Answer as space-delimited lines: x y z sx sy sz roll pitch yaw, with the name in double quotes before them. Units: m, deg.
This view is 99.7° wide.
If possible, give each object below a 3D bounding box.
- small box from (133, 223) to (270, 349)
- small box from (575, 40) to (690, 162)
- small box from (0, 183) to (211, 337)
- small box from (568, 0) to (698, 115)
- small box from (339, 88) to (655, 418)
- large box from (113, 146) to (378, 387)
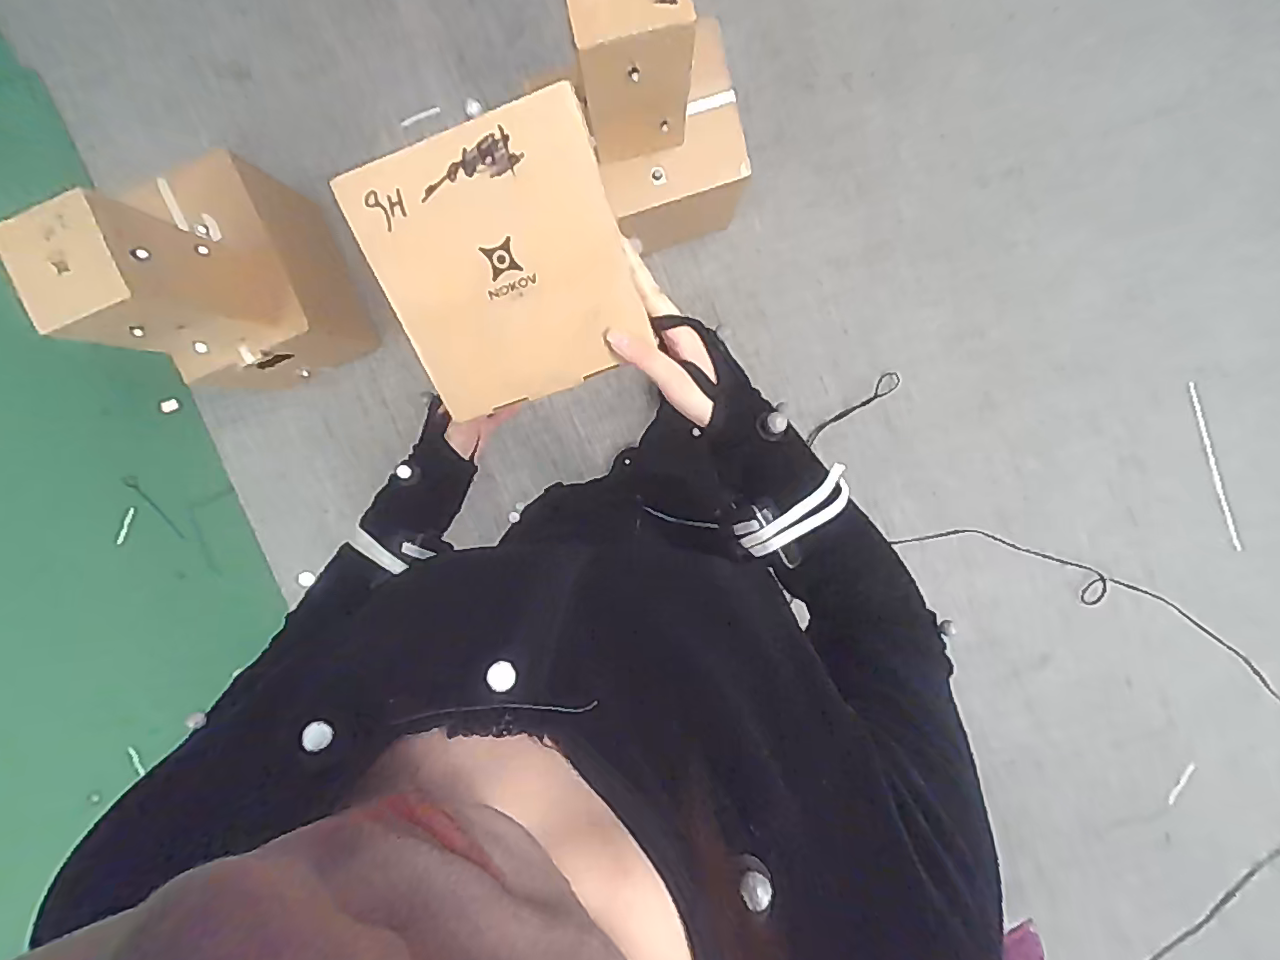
"small box" -0.879 -0.366 1.062 0.168 0.176 0.179 -20 95 3
"small box" -0.014 -0.726 0.999 0.179 0.176 0.168 -12 94 3
"small box" -0.874 -0.348 0.898 0.168 0.176 0.179 -20 95 3
"small box" -0.015 -0.708 0.836 0.179 0.176 0.168 -11 94 3
"small box" -0.092 -0.179 0.443 0.168 0.176 0.179 -18 115 6
"large box" -0.916 -0.472 1.296 0.320 0.320 0.408 -22 95 4
